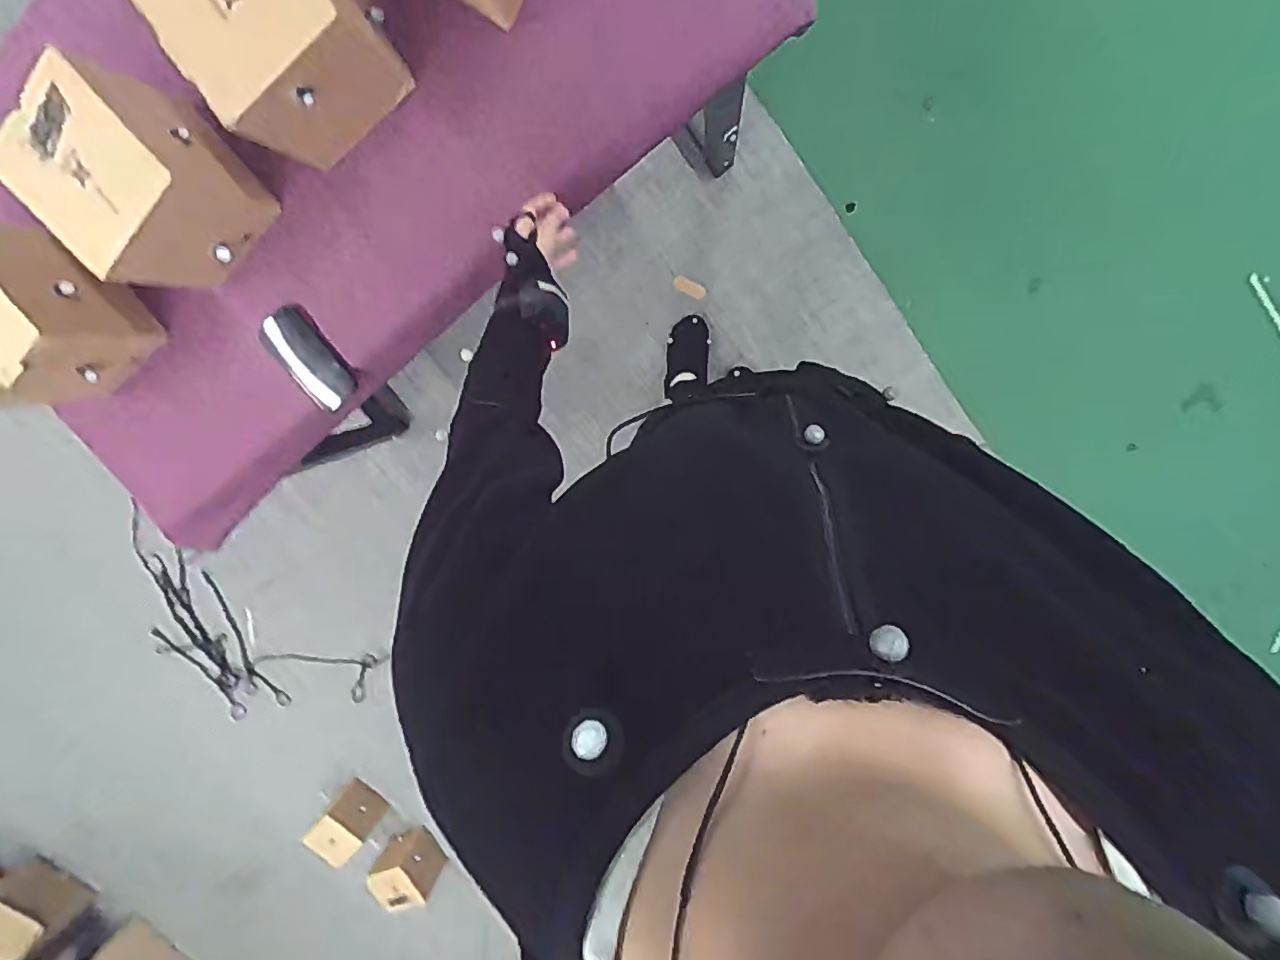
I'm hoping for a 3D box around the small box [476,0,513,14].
[{"bbox_3d":[-0.194,-0.646,0.554,0.168,0.176,0.179,34,106,-2],"label":"small box"}]

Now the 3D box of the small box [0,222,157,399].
[{"bbox_3d":[-0.837,-0.234,0.741,0.168,0.176,0.179,-33,100,14],"label":"small box"}]

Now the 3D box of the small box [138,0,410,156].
[{"bbox_3d":[-0.407,-0.513,0.616,0.179,0.176,0.168,-31,100,13],"label":"small box"}]

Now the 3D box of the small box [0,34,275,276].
[{"bbox_3d":[-0.621,-0.380,0.676,0.168,0.176,0.179,-38,98,15],"label":"small box"}]

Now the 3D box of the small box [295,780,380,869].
[{"bbox_3d":[-1.055,1.207,1.909,0.179,0.176,0.168,-43,97,15],"label":"small box"}]
